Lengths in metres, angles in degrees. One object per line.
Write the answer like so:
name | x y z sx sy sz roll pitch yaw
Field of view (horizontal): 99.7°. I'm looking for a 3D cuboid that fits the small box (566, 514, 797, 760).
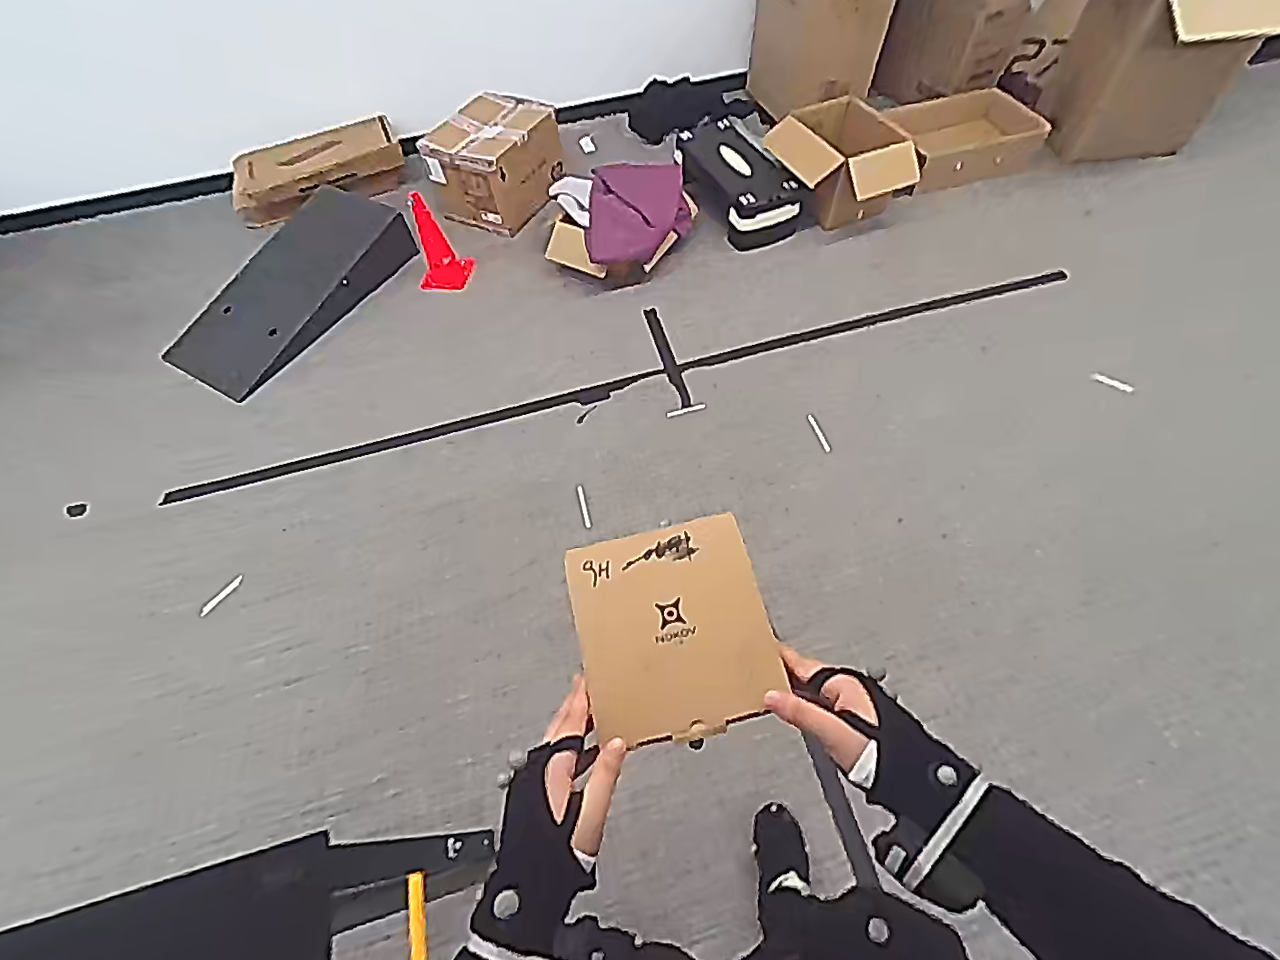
small box | 0.035 0.155 0.535 0.168 0.176 0.179 -14 68 -3
